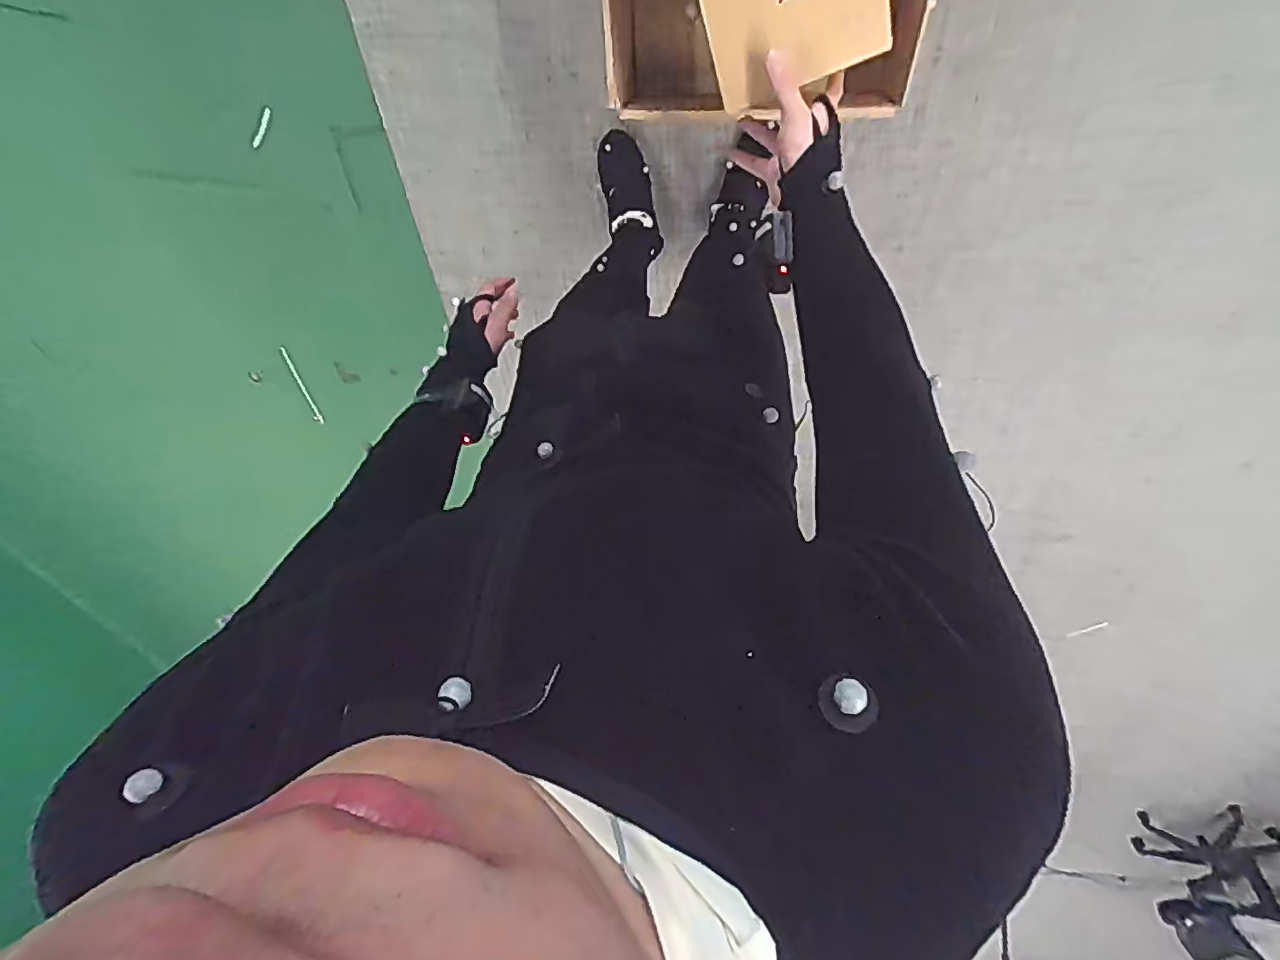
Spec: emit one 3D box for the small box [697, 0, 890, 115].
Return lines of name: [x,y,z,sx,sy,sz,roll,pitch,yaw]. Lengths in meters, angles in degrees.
small box: [0.148,-0.513,0.546,0.168,0.176,0.179,-10,130,22]
